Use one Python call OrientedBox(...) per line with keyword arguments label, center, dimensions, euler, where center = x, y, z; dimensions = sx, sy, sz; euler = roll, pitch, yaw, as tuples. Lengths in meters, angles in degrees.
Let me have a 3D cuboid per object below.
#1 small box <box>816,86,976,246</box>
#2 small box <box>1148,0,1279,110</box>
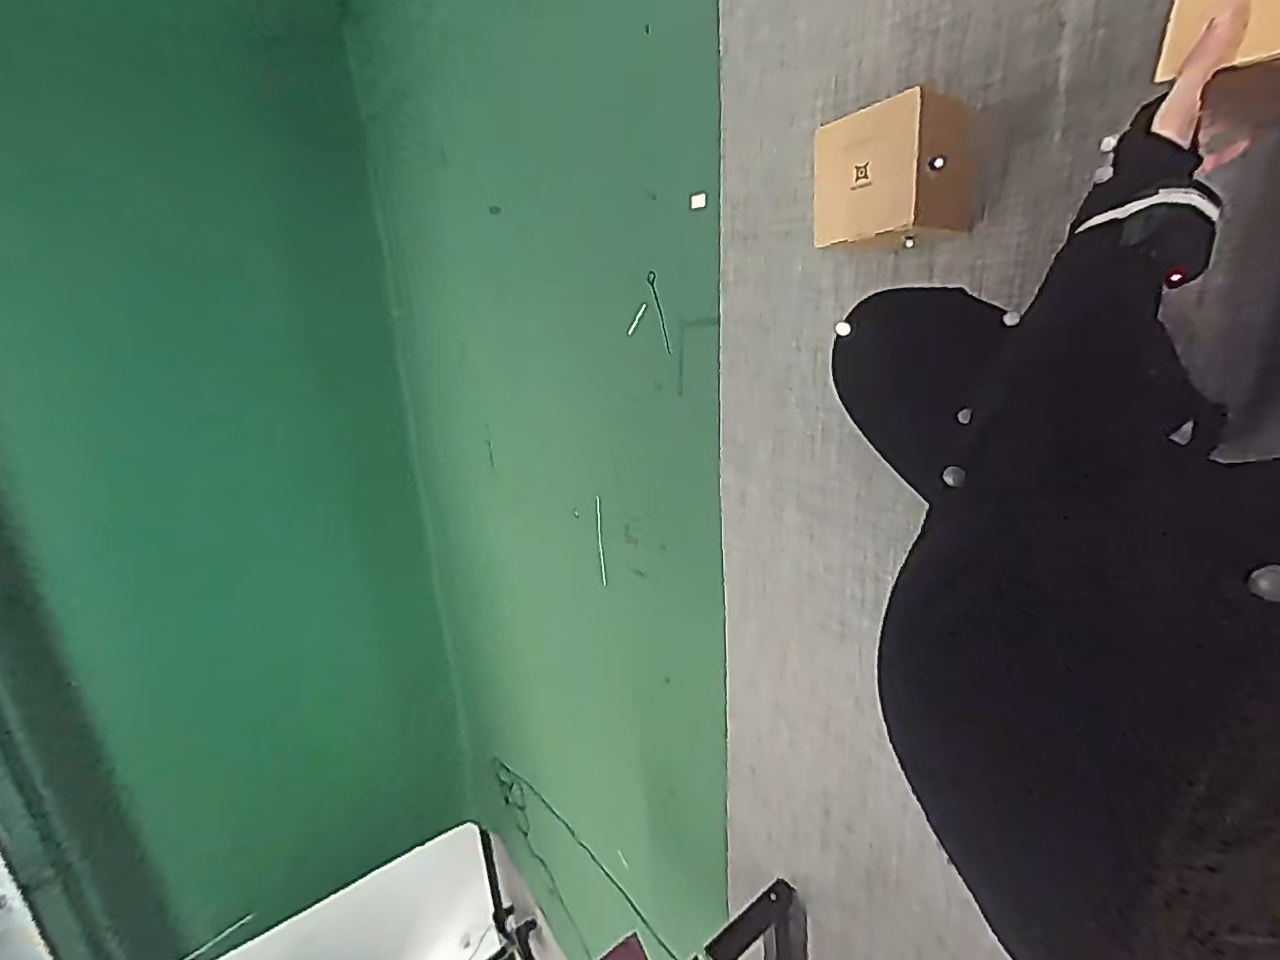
OrientedBox(label="small box", center=(0.397, -0.471, 0.844), dimensions=(0.168, 0.176, 0.179), euler=(15, 114, 52))
OrientedBox(label="small box", center=(0.524, -0.392, 0.388), dimensions=(0.179, 0.176, 0.168), euler=(23, 120, 50))
